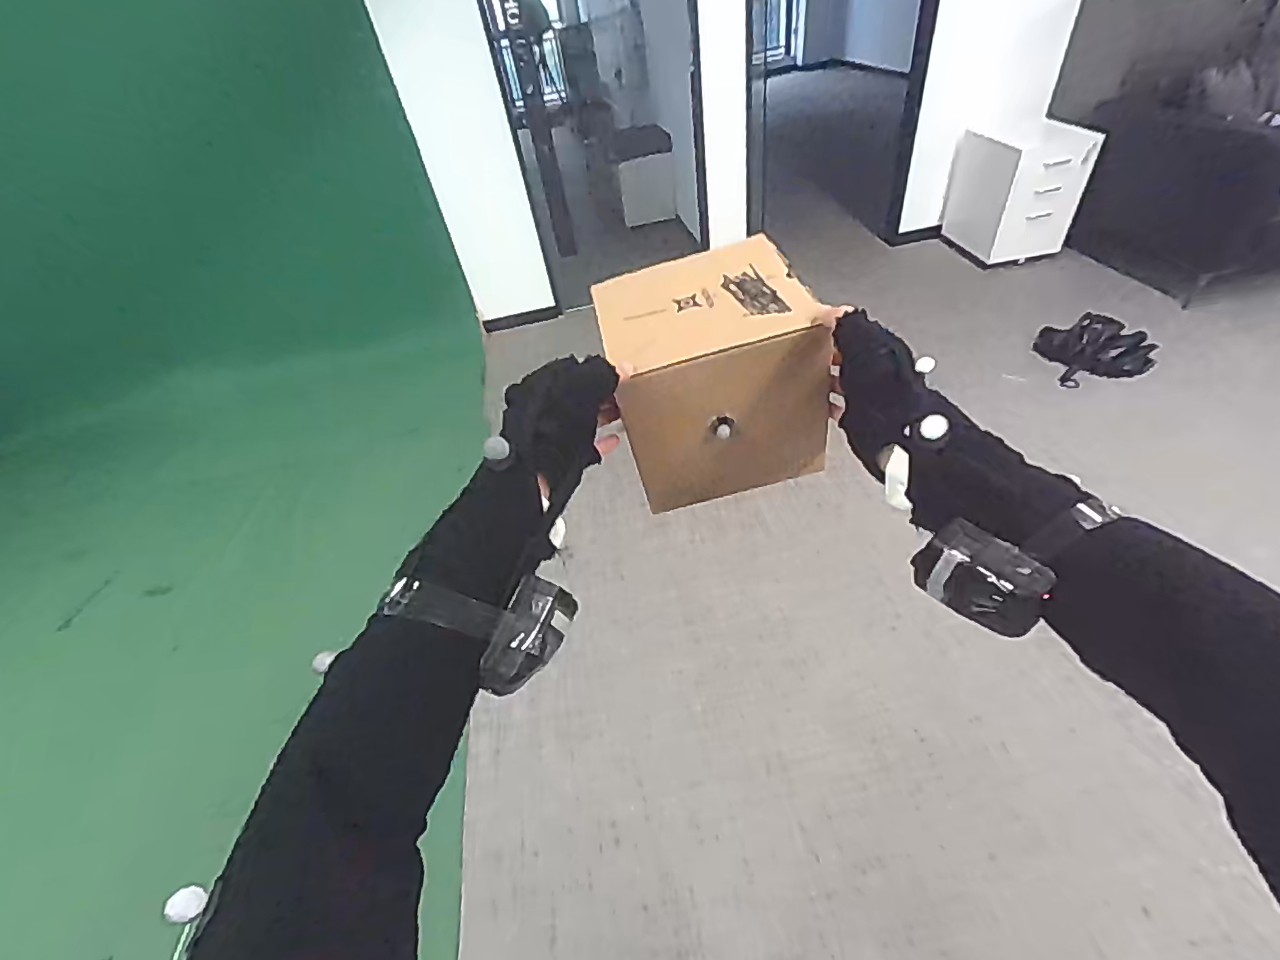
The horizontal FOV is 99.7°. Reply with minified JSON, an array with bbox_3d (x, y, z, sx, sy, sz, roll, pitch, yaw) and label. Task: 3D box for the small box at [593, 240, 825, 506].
[{"bbox_3d":[0.065,-0.101,0.532,0.179,0.176,0.168,-16,45,3],"label":"small box"}]
